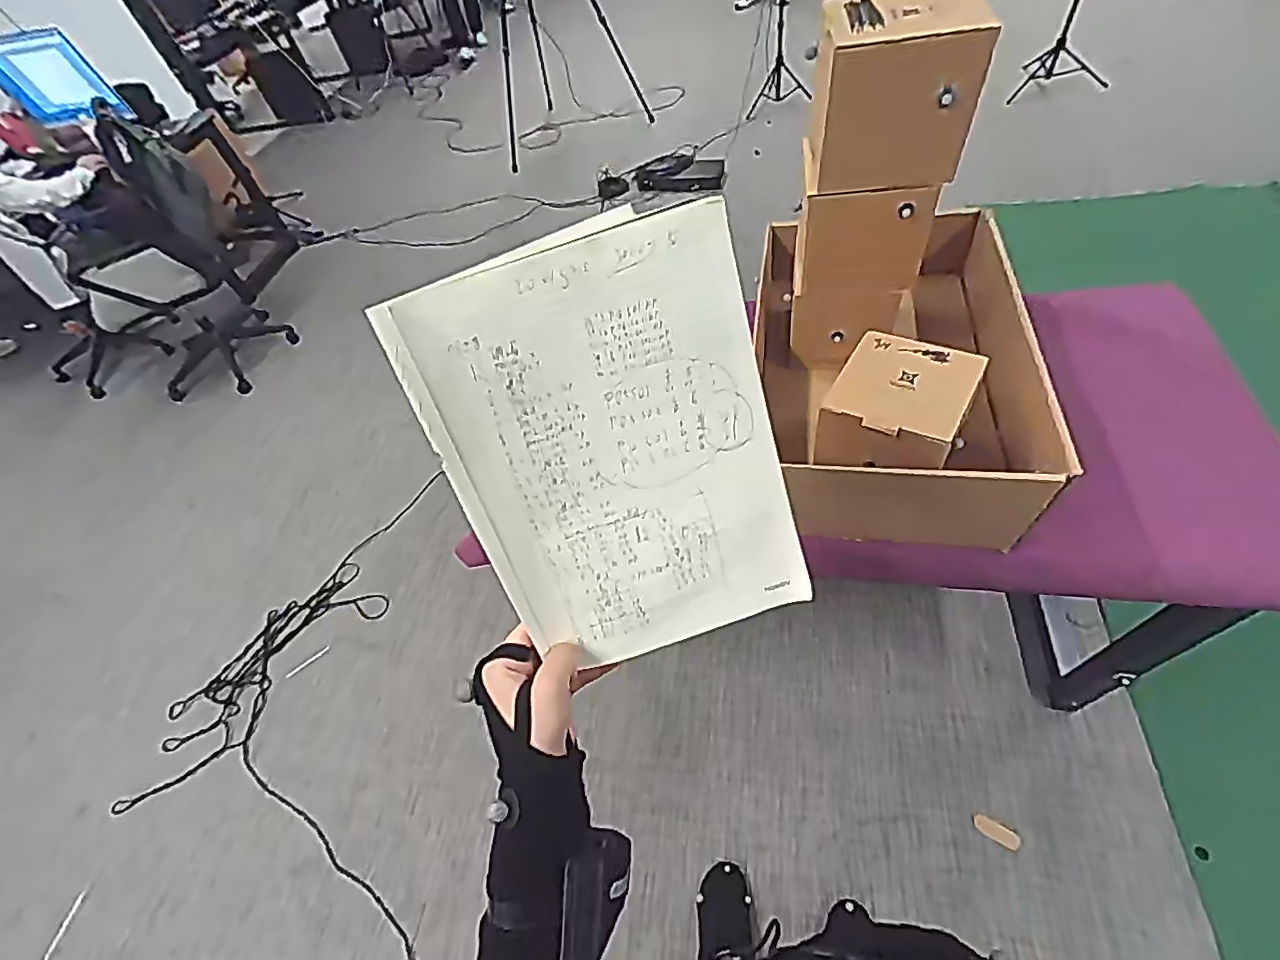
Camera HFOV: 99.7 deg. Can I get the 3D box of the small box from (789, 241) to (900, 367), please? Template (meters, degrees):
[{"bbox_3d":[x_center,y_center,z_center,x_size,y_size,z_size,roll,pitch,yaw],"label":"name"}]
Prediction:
[{"bbox_3d":[0.359,-0.319,0.969,0.168,0.176,0.179,3,56,14],"label":"small box"}]

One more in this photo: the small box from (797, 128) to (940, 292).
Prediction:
[{"bbox_3d":[0.336,-0.409,0.836,0.179,0.176,0.168,1,56,12],"label":"small box"}]
